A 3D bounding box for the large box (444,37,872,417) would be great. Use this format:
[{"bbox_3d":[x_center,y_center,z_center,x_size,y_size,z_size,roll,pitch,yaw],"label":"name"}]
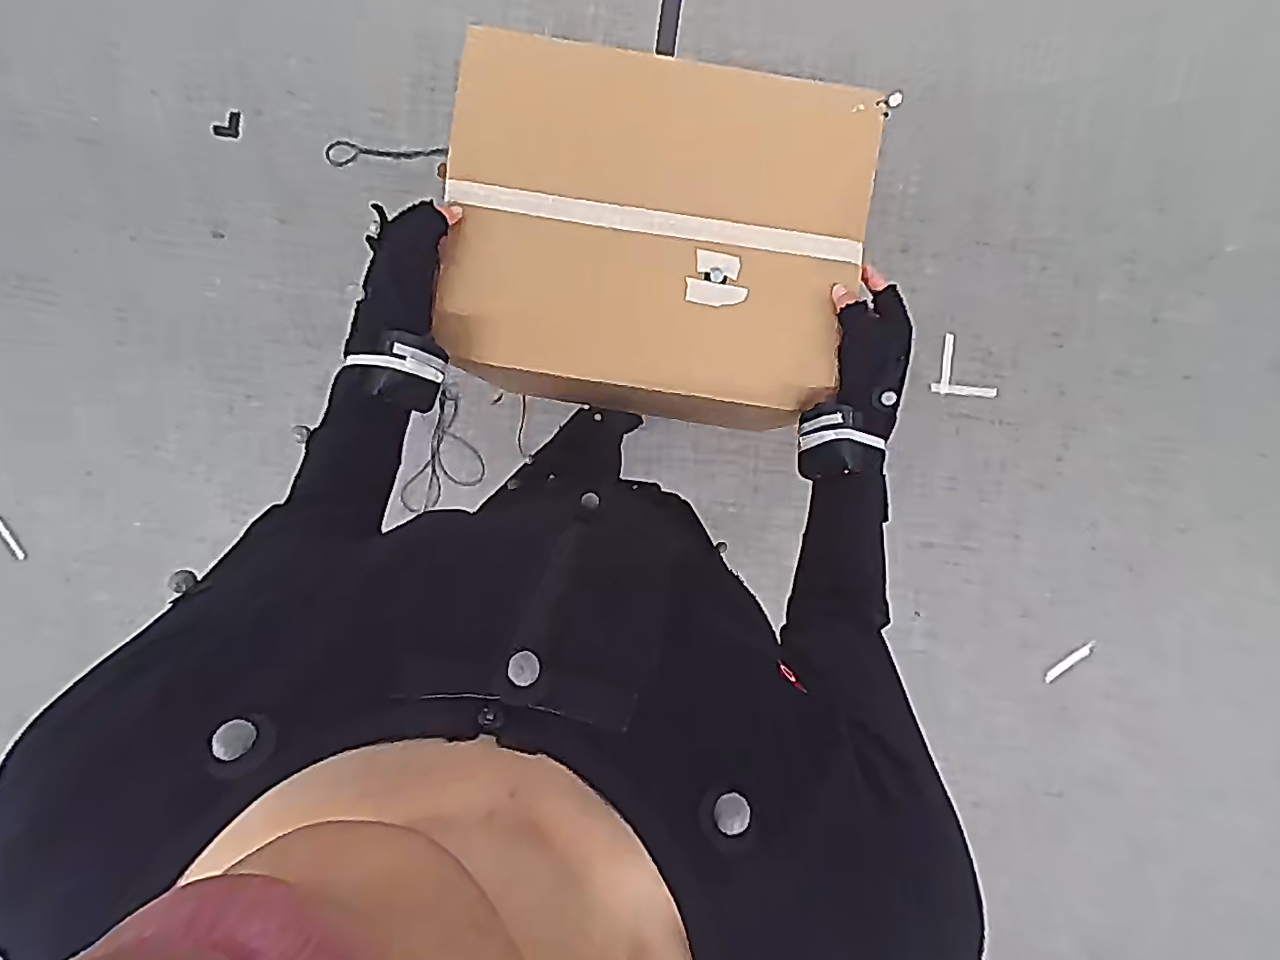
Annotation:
[{"bbox_3d":[0.013,-0.268,0.690,0.408,0.320,0.320,8,93,-1],"label":"large box"}]
